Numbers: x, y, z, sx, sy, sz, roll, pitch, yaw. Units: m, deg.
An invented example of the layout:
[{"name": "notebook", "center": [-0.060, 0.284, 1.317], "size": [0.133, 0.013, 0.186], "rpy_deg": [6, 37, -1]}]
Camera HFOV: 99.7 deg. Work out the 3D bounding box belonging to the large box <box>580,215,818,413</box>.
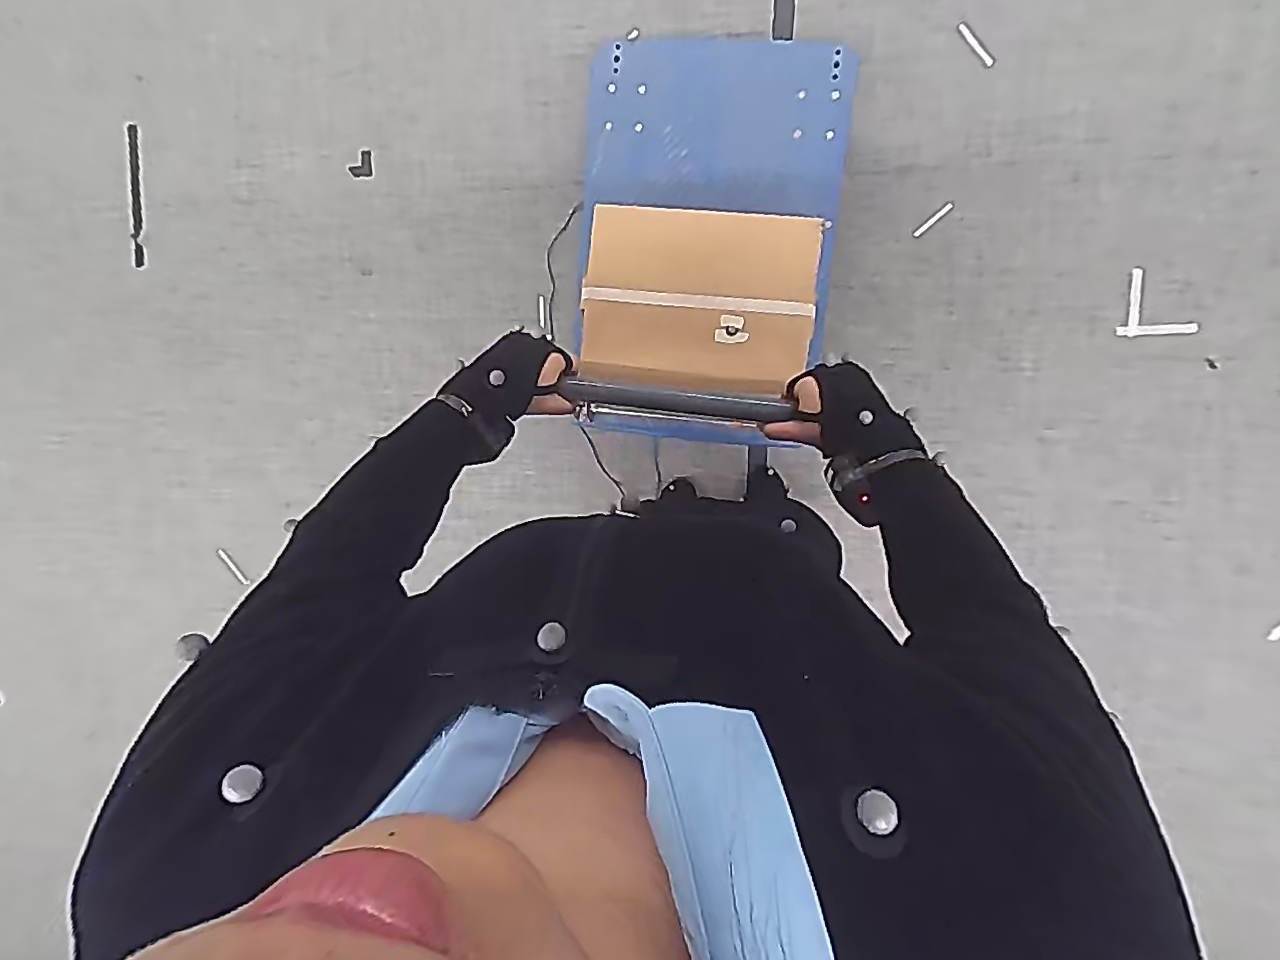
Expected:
[{"name": "large box", "center": [0.111, -0.313, 1.104], "size": [0.408, 0.320, 0.320], "rpy_deg": [6, 96, 5]}]
